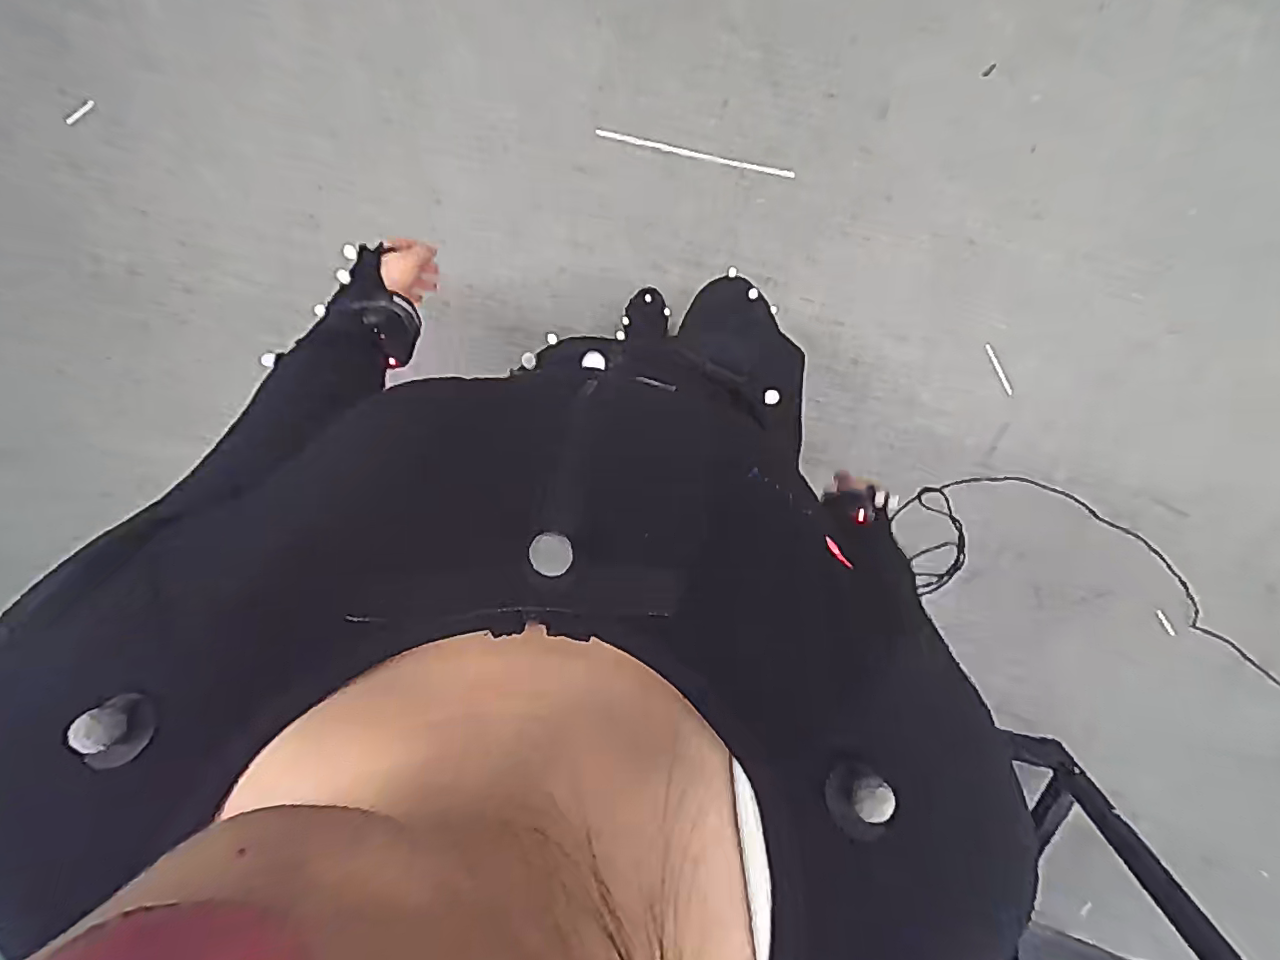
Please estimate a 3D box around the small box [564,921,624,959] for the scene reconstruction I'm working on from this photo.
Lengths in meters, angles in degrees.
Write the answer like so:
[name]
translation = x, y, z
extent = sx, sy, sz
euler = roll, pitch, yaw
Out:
[small box]
translation = -0.171, 1.803, 2.018
extent = 0.168, 0.176, 0.179
euler = -20, 103, 12
